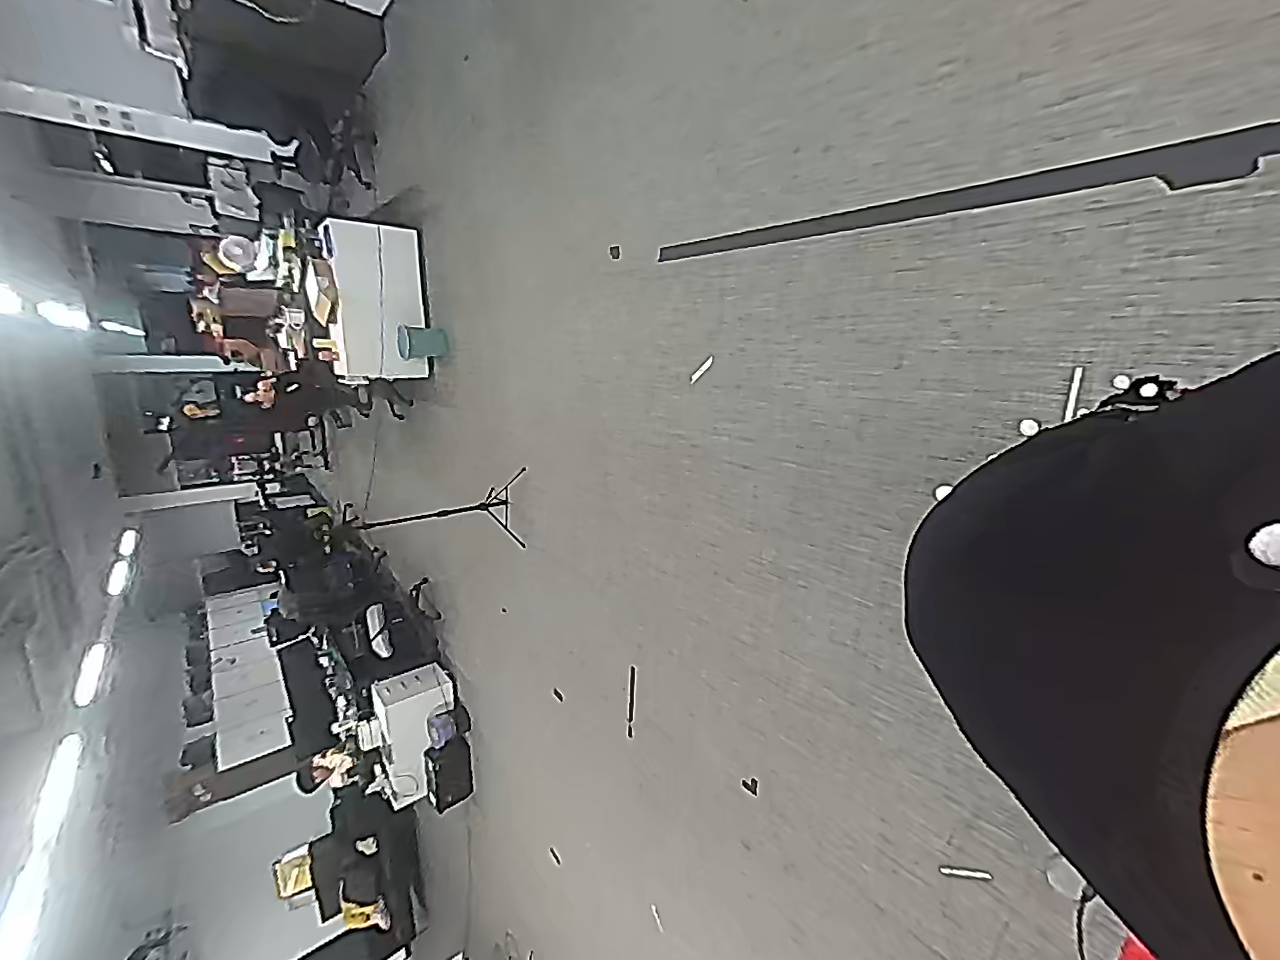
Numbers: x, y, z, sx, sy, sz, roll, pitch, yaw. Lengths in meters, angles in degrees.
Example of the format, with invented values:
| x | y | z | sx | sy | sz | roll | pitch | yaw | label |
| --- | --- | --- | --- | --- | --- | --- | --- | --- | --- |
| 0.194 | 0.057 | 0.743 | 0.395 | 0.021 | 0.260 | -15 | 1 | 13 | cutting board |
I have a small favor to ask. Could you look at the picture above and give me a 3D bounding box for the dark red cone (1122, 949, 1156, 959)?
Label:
| x | y | z | sx | sy | sz | roll | pitch | yaw | label |
| --- | --- | --- | --- | --- | --- | --- | --- | --- | --- |
| 0.977 | 1.125 | 1.006 | 0.201 | 0.394 | 0.202 | 18 | 112 | 50 | dark red cone |
